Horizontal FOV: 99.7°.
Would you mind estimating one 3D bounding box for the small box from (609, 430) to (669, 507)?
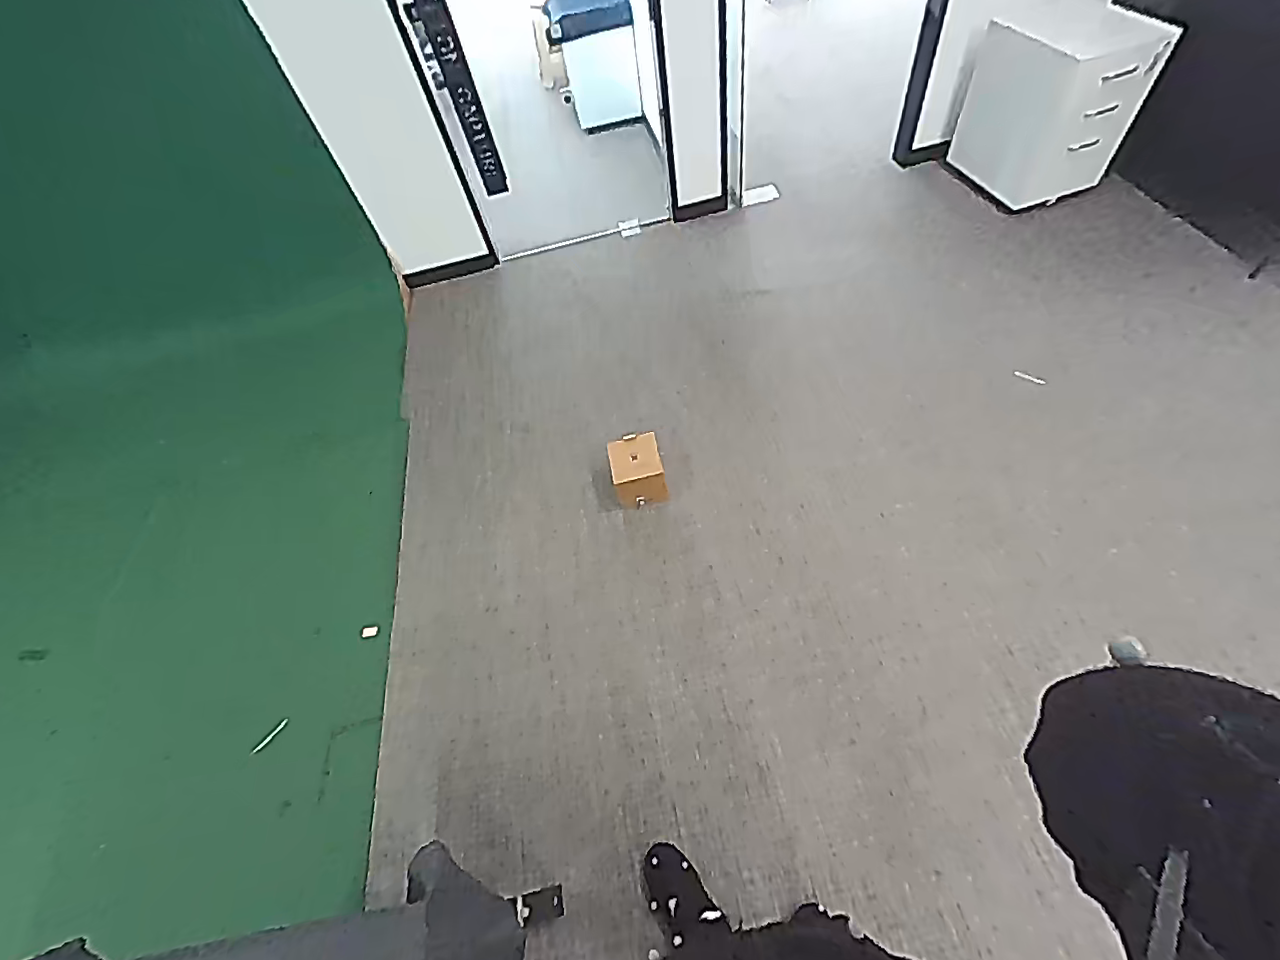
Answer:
[{"bbox_3d":[-0.002,-0.036,1.807,0.168,0.176,0.179,-12,55,4],"label":"small box"}]
